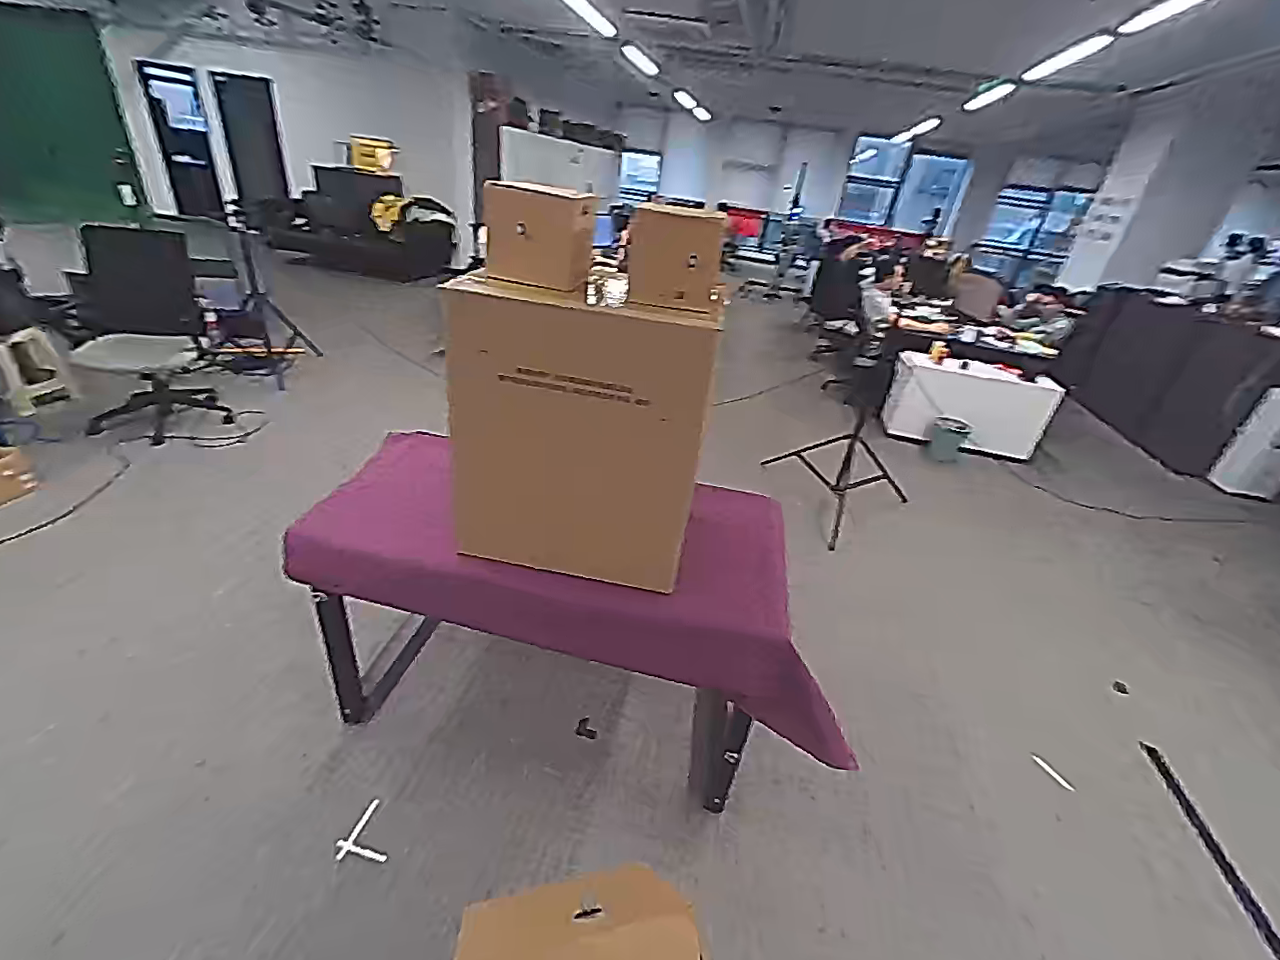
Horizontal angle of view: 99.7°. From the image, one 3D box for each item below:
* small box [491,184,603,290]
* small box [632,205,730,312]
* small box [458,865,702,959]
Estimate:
[{"bbox_3d":[-0.185,-0.489,1.088,0.179,0.176,0.168,12,30,6],"label":"small box"},{"bbox_3d":[0.081,-0.437,1.064,0.168,0.176,0.179,10,29,3],"label":"small box"},{"bbox_3d":[-0.050,0.426,0.421,0.179,0.176,0.168,-3,64,-16],"label":"small box"}]
